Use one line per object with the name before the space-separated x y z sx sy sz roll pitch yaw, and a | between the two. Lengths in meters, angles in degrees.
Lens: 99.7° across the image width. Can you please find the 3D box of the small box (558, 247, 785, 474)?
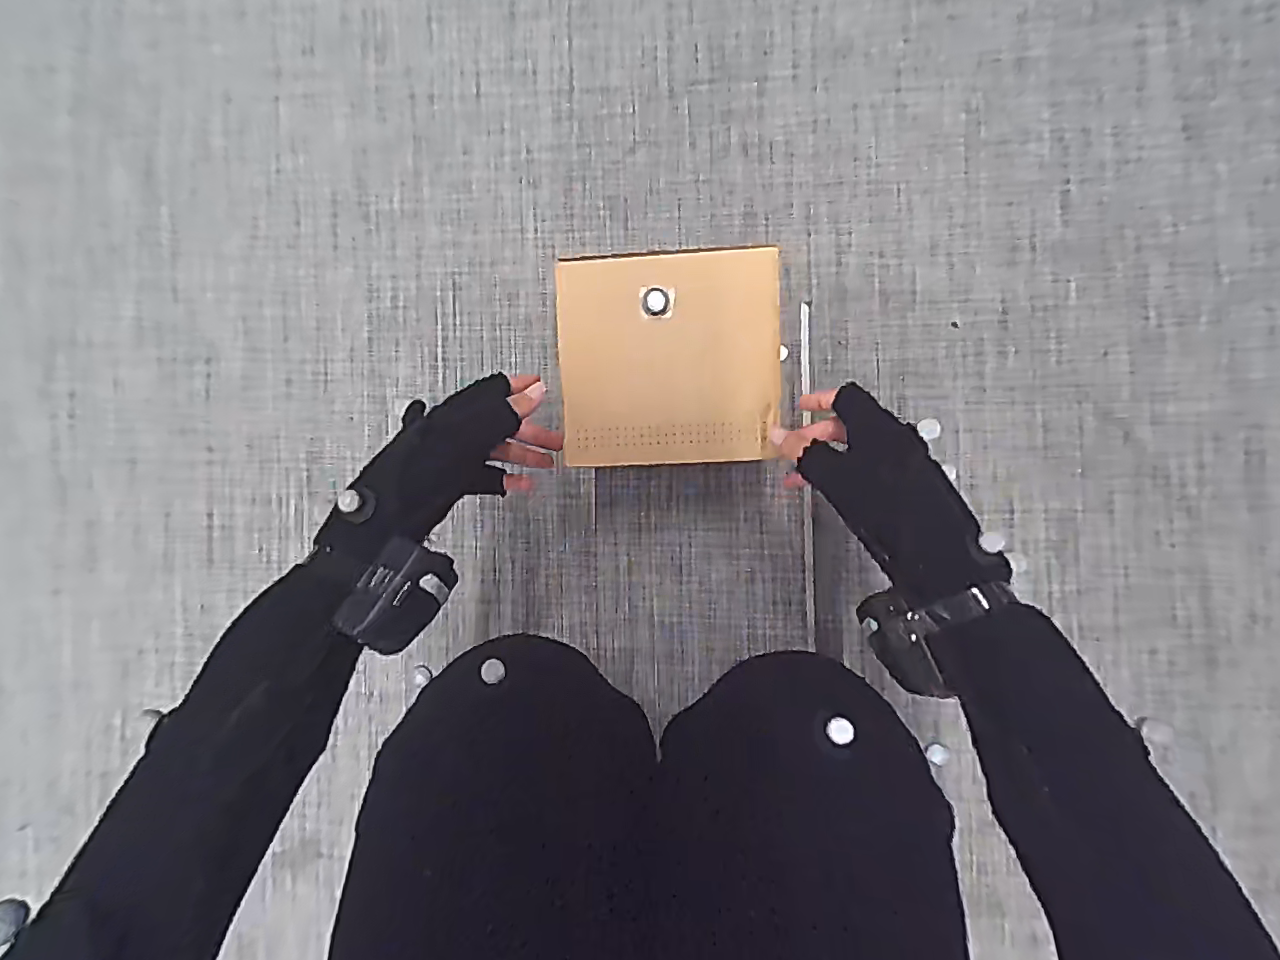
small box | 0.032 -0.099 0.499 0.179 0.168 0.176 -2 96 4
